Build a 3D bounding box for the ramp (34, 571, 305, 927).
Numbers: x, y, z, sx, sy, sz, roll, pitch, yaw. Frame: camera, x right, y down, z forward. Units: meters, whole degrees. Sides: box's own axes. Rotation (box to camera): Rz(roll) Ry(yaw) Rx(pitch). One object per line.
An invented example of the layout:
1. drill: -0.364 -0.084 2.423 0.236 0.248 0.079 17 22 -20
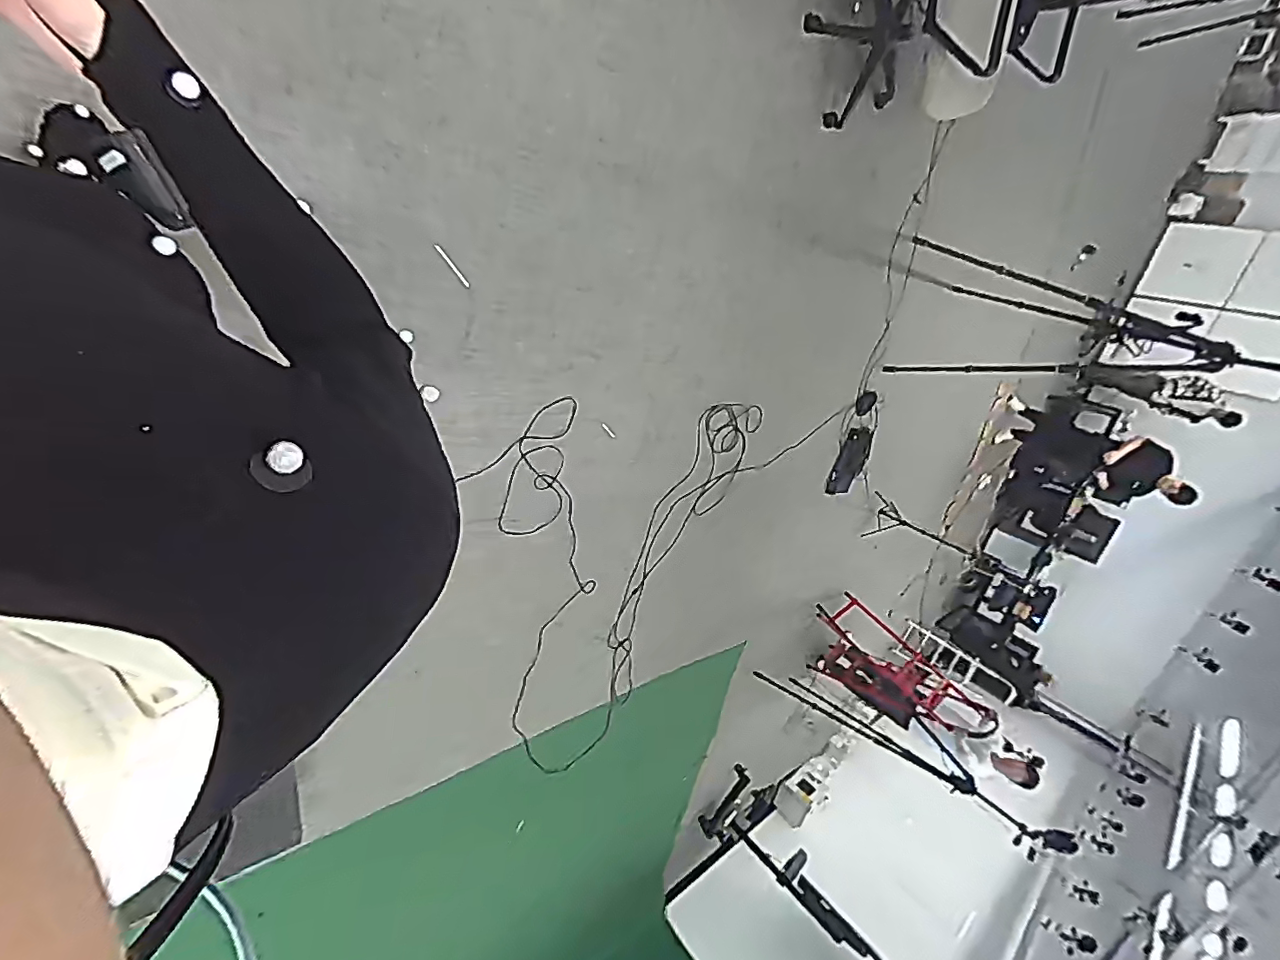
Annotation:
1. ramp: -1.303 0.771 1.572 0.509 0.206 0.991 -10 121 -39
